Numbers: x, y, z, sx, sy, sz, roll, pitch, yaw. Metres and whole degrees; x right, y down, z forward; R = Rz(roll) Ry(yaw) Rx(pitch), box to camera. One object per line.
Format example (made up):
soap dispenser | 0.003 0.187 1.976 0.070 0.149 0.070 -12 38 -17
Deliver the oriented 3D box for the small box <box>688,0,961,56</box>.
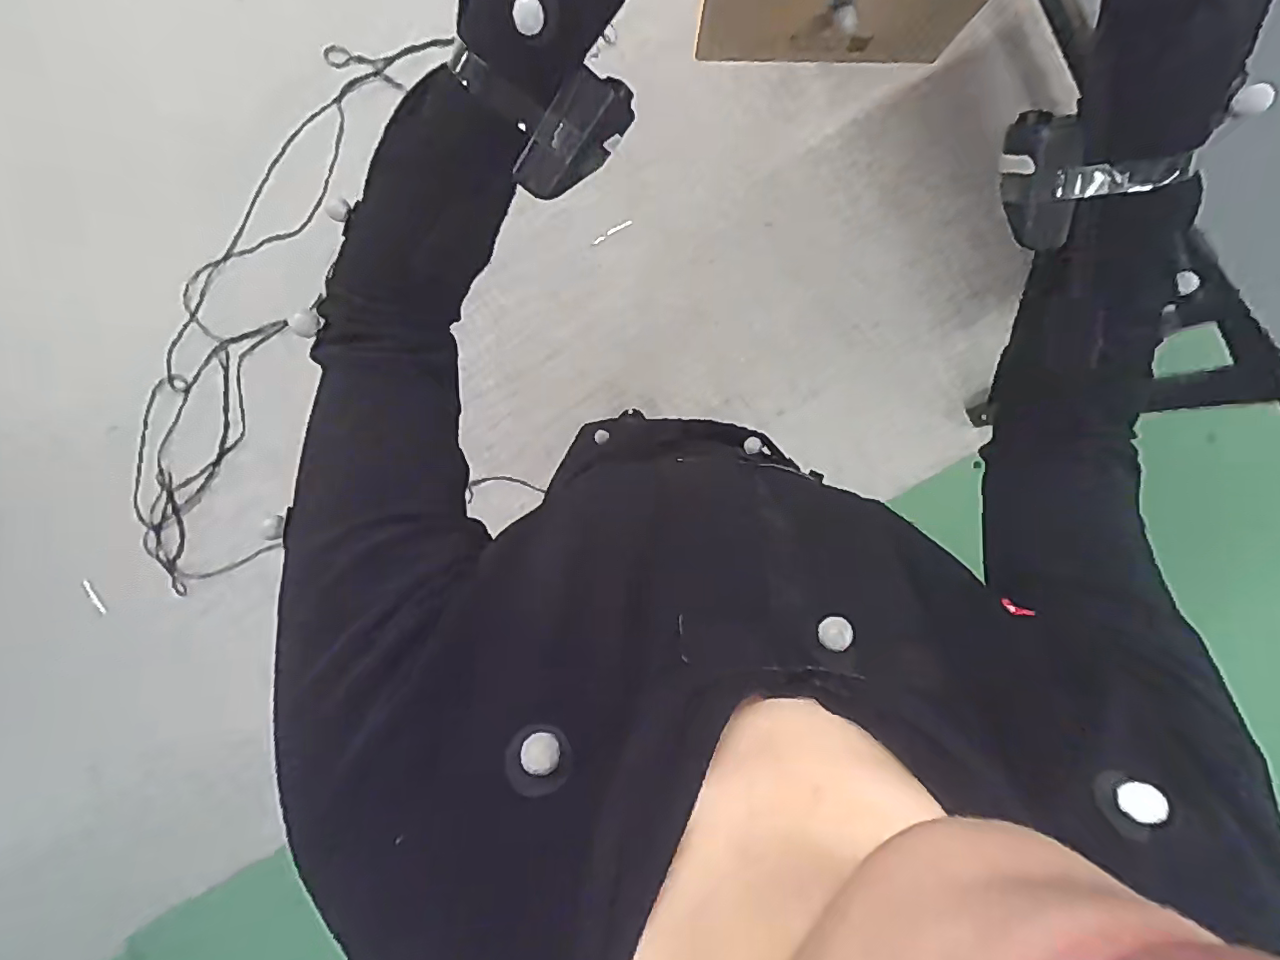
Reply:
small box | 0.114 -0.366 0.275 0.168 0.176 0.179 0 97 0
